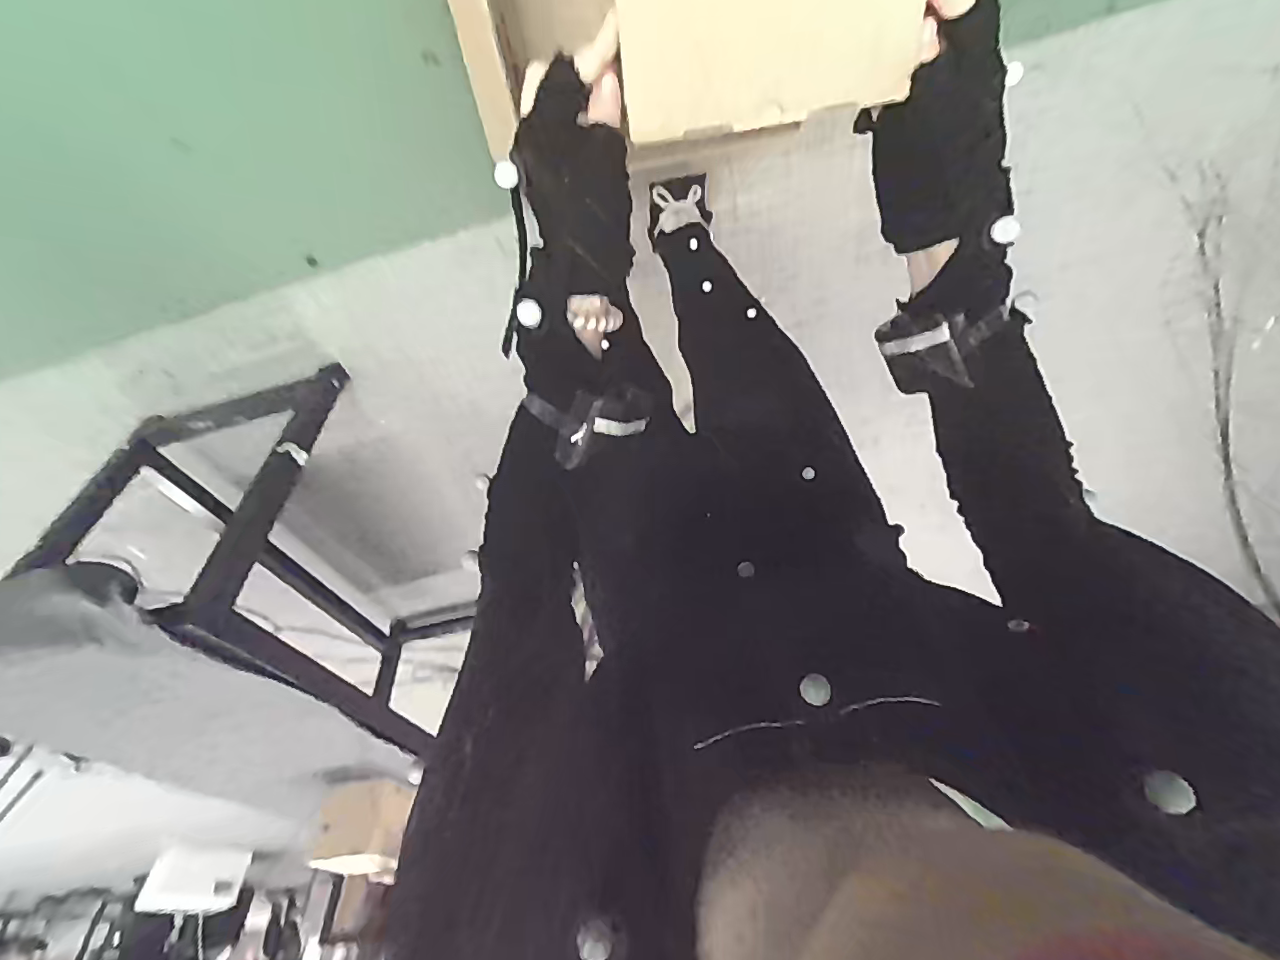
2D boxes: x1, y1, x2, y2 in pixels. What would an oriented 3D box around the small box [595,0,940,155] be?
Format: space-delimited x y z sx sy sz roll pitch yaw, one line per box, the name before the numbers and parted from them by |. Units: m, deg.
small box | 0.056 -0.312 0.306 0.168 0.176 0.179 -11 133 0
